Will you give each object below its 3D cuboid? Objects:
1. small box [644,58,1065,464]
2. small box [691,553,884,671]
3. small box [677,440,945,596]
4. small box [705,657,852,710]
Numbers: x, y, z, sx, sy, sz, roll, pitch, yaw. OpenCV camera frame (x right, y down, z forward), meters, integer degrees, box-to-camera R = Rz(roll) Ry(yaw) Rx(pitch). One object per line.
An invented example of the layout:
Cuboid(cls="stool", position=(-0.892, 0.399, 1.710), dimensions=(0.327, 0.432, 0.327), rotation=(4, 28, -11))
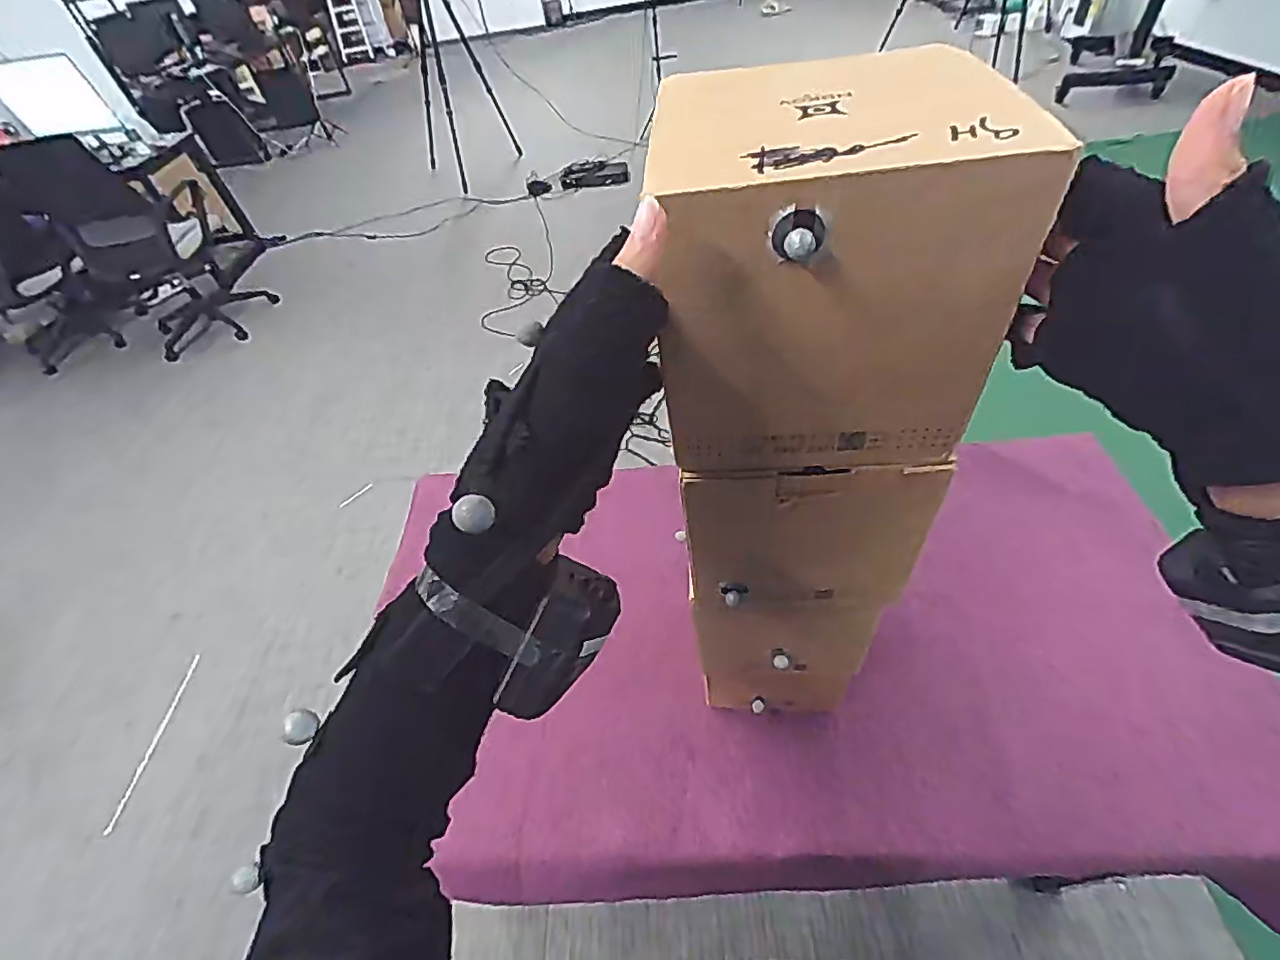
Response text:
Cuboid(cls="small box", position=(0.100, -0.128, 0.331), dimensions=(0.168, 0.176, 0.179), rotation=(-2, 47, 10))
Cuboid(cls="small box", position=(0.141, 0.086, 0.577), dimensions=(0.168, 0.176, 0.179), rotation=(-4, 49, 8))
Cuboid(cls="small box", position=(0.123, -0.016, 0.449), dimensions=(0.168, 0.176, 0.179), rotation=(-3, 48, 8))
Cuboid(cls="small box", position=(0.169, 0.181, 0.708), dimensions=(0.168, 0.176, 0.179), rotation=(-2, 49, 9))
